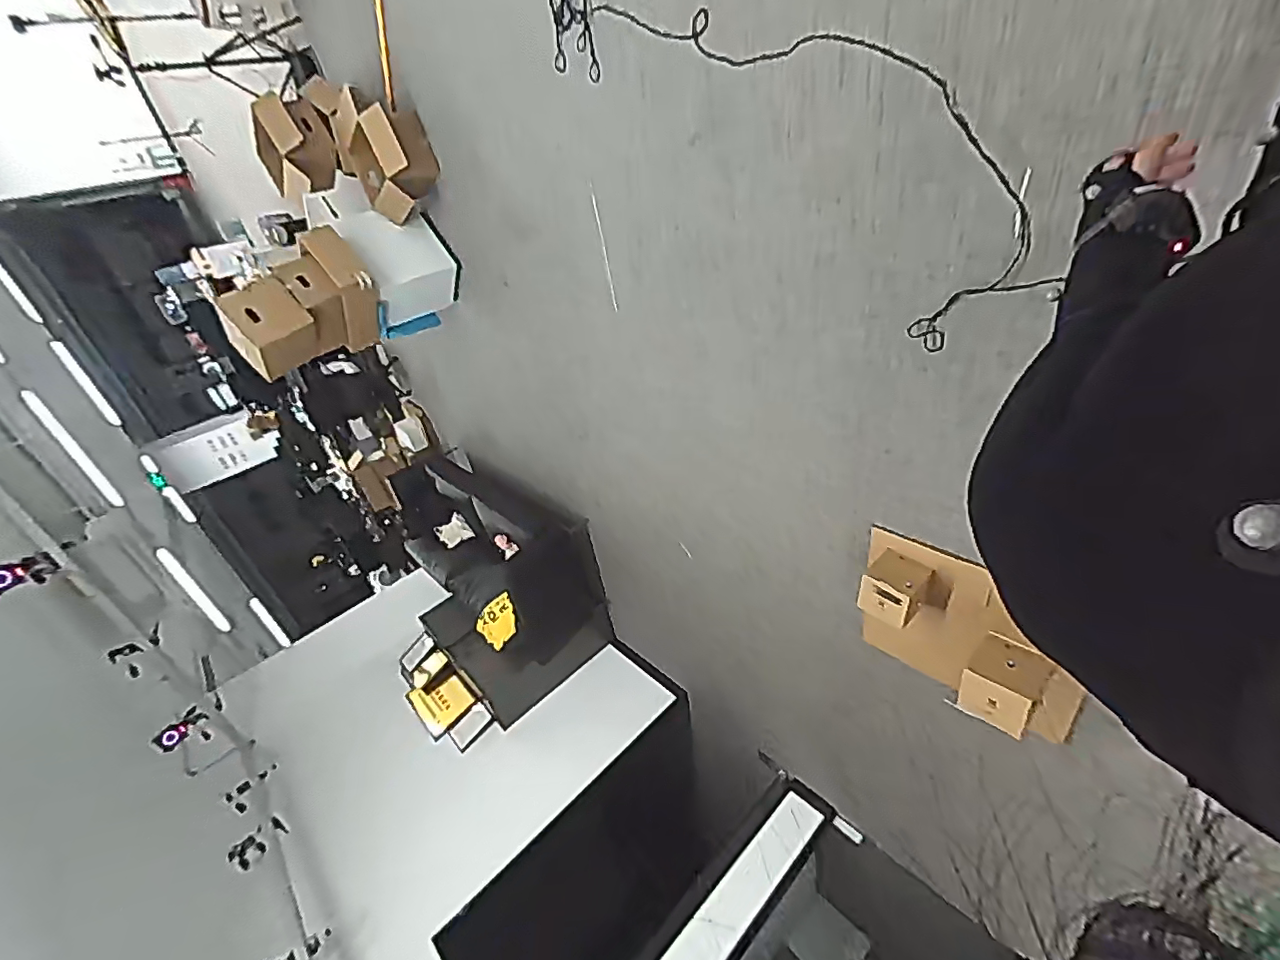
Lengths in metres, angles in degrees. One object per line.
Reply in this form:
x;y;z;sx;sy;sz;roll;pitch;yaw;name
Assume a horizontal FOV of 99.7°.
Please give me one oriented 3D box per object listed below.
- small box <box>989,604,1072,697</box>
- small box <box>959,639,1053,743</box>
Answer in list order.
1.149;0.502;1.605;0.168;0.176;0.179;23;136;44;small box
1.032;0.585;1.524;0.168;0.176;0.179;24;136;44;small box
